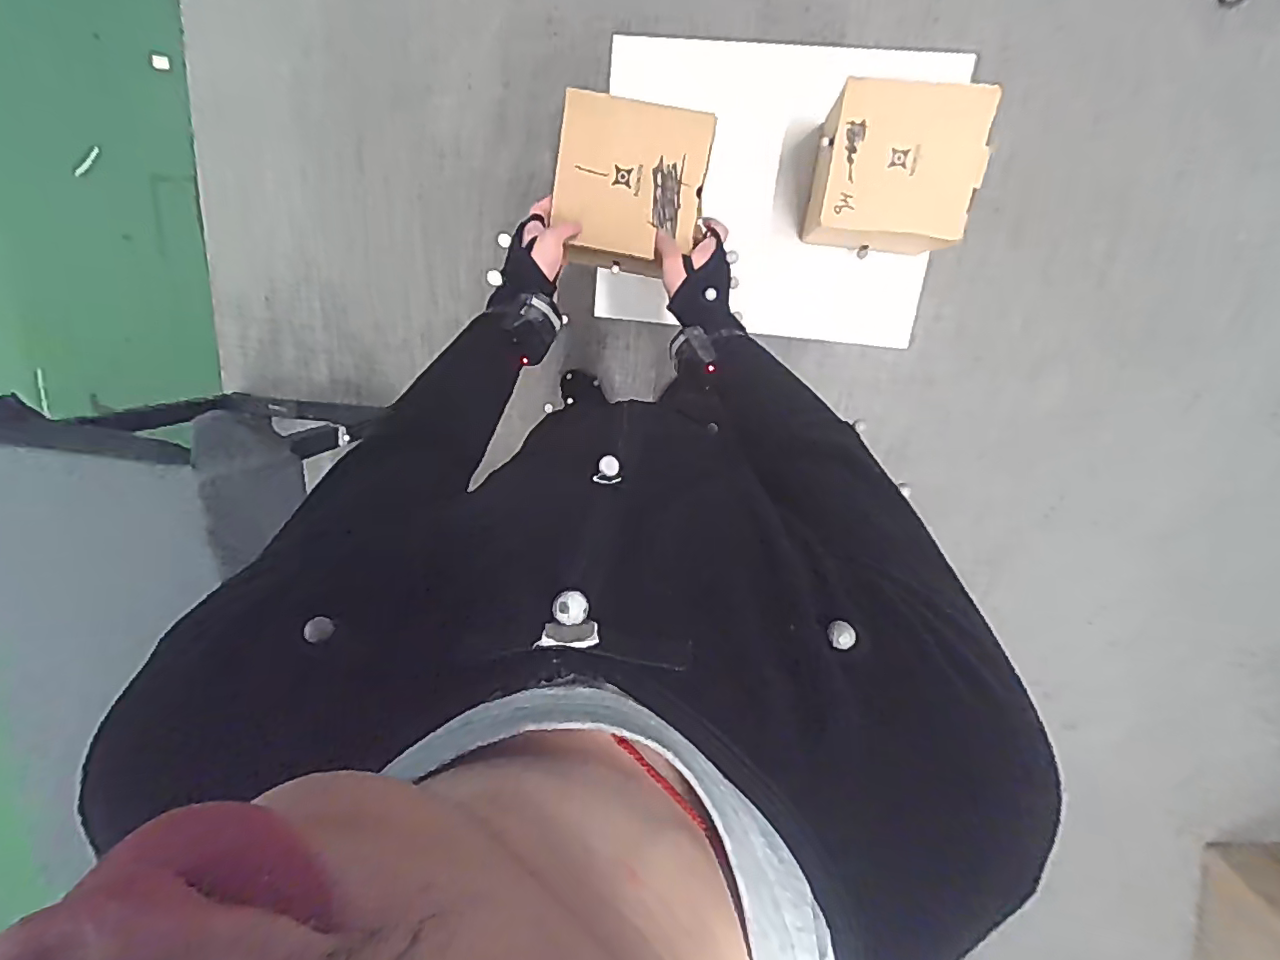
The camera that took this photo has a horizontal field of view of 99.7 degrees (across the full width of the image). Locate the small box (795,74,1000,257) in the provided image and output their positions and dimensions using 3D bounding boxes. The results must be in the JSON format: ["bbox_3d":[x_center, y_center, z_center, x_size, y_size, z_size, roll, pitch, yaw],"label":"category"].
[{"bbox_3d":[0.323,-0.401,0.720,0.179,0.176,0.168,9,106,3],"label":"small box"}]

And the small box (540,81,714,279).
[{"bbox_3d":[-0.015,-0.362,0.689,0.179,0.176,0.168,11,103,0],"label":"small box"}]
